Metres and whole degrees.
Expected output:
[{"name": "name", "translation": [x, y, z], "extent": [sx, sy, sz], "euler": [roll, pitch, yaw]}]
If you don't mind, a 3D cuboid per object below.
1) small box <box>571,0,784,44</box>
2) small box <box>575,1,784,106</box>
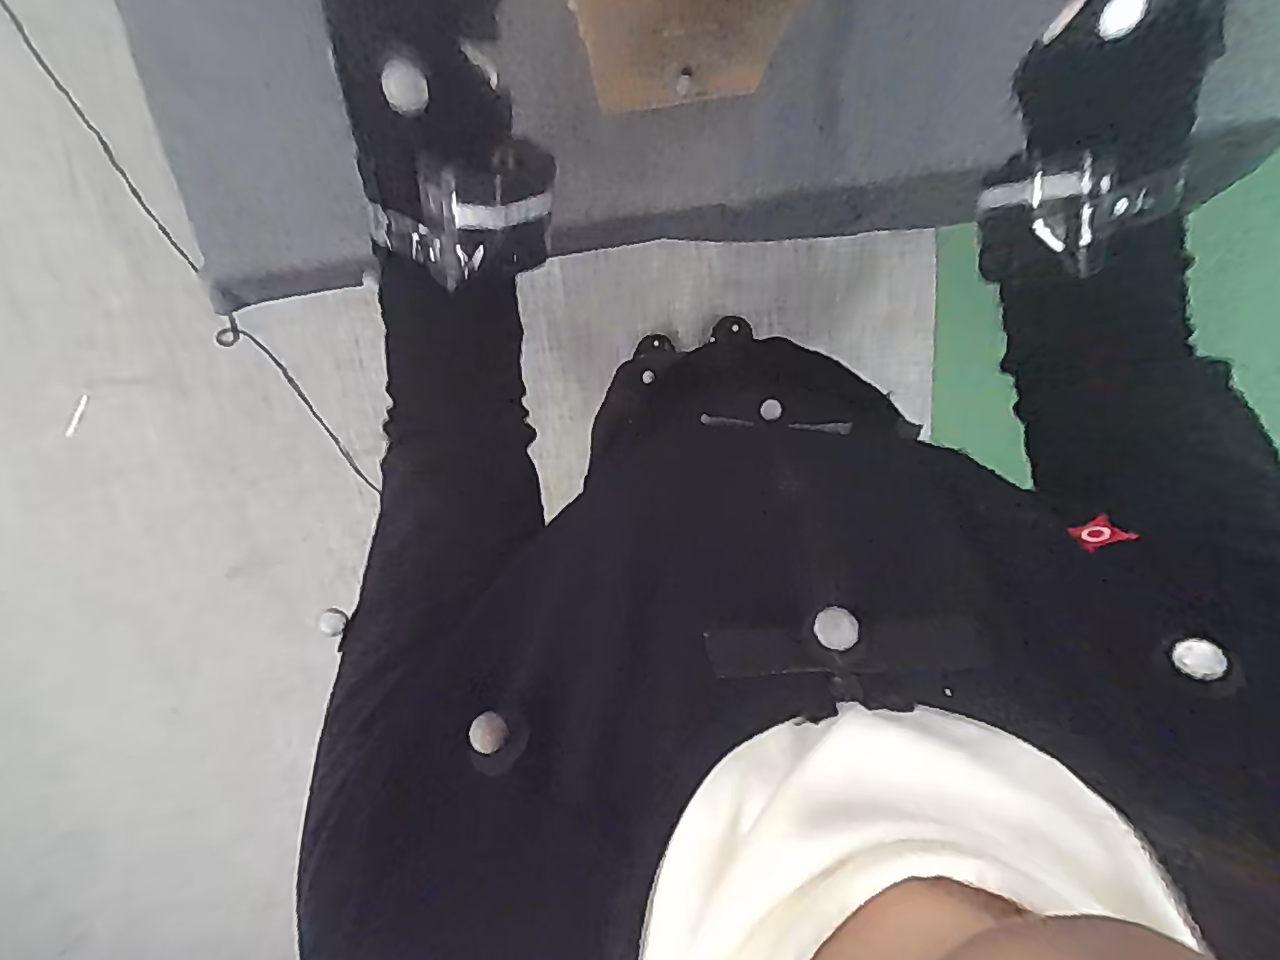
[{"name": "small box", "translation": [0.029, -0.402, 0.319], "extent": [0.179, 0.176, 0.168], "euler": [-9, 106, 2]}, {"name": "small box", "translation": [0.024, -0.457, 0.474], "extent": [0.168, 0.176, 0.179], "euler": [-7, 107, 3]}]
